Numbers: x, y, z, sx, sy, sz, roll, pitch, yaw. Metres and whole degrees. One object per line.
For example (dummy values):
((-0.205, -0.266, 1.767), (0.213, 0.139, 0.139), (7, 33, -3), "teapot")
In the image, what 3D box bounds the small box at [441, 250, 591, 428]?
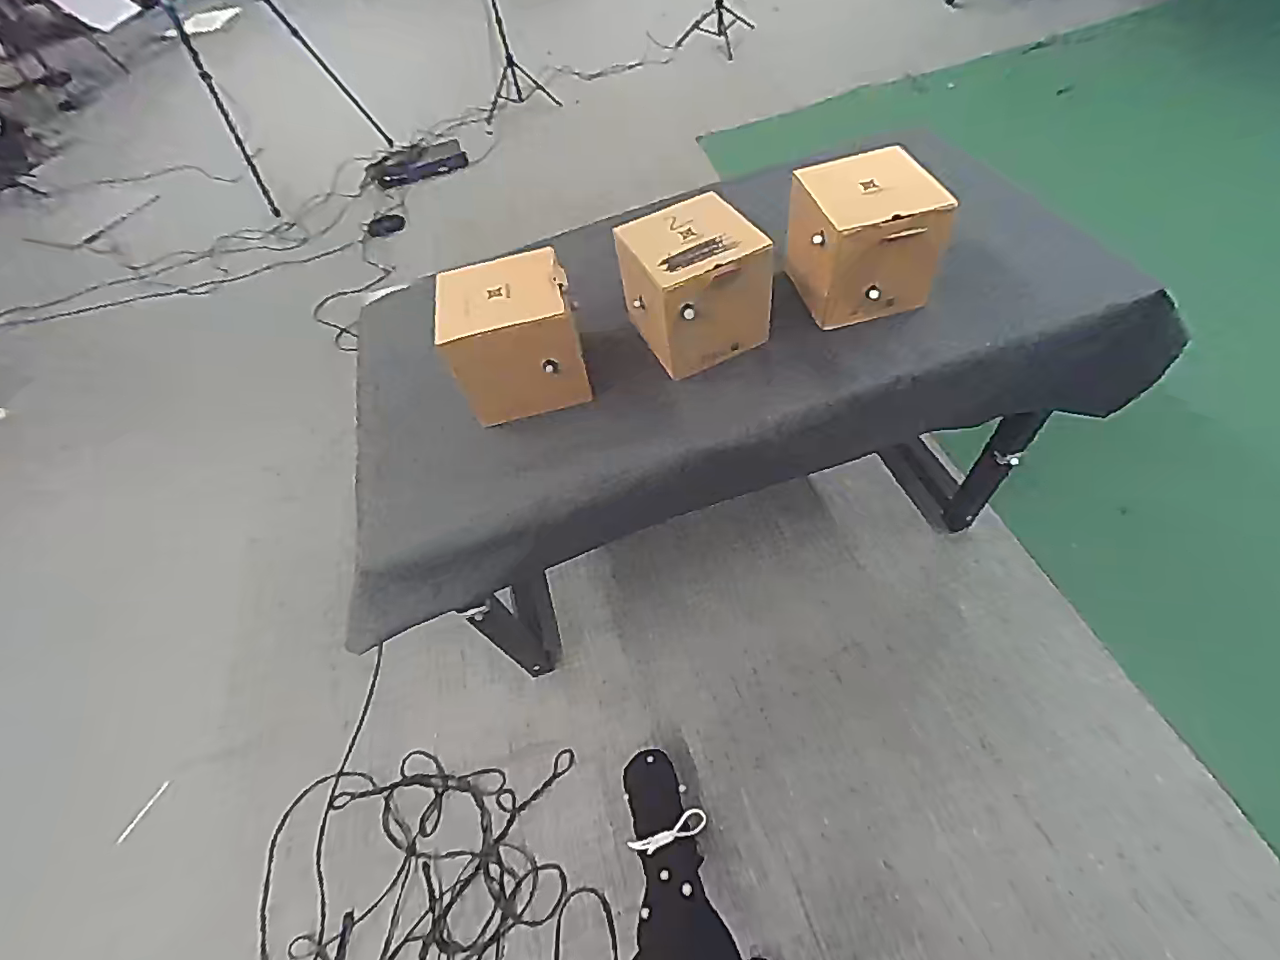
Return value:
((-0.176, -0.204, 0.803), (0.179, 0.176, 0.168), (-15, 53, 0), "small box")

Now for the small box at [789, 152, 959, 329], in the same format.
((0.338, -0.361, 0.826), (0.168, 0.176, 0.179), (-14, 55, 0), "small box")
